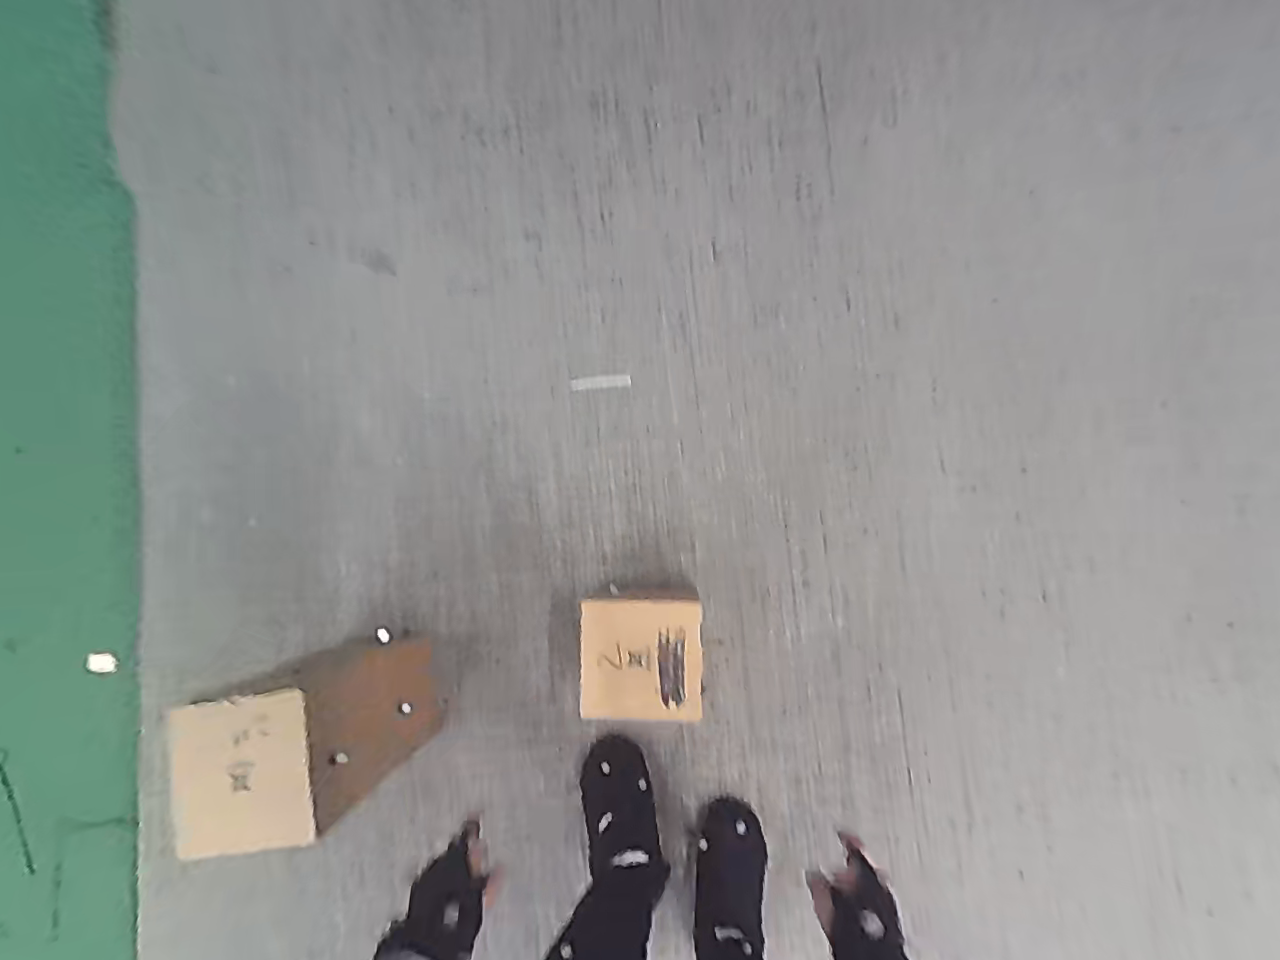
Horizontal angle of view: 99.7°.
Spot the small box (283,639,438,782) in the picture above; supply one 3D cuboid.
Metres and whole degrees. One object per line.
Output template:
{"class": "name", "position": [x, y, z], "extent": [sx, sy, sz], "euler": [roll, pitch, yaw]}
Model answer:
{"class": "small box", "position": [-0.442, 0.369, 0.879], "extent": [0.168, 0.176, 0.179], "euler": [-7, 84, 3]}

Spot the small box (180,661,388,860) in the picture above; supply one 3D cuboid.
{"class": "small box", "position": [-0.455, 0.356, 0.716], "extent": [0.168, 0.176, 0.179], "euler": [-8, 84, 2]}
